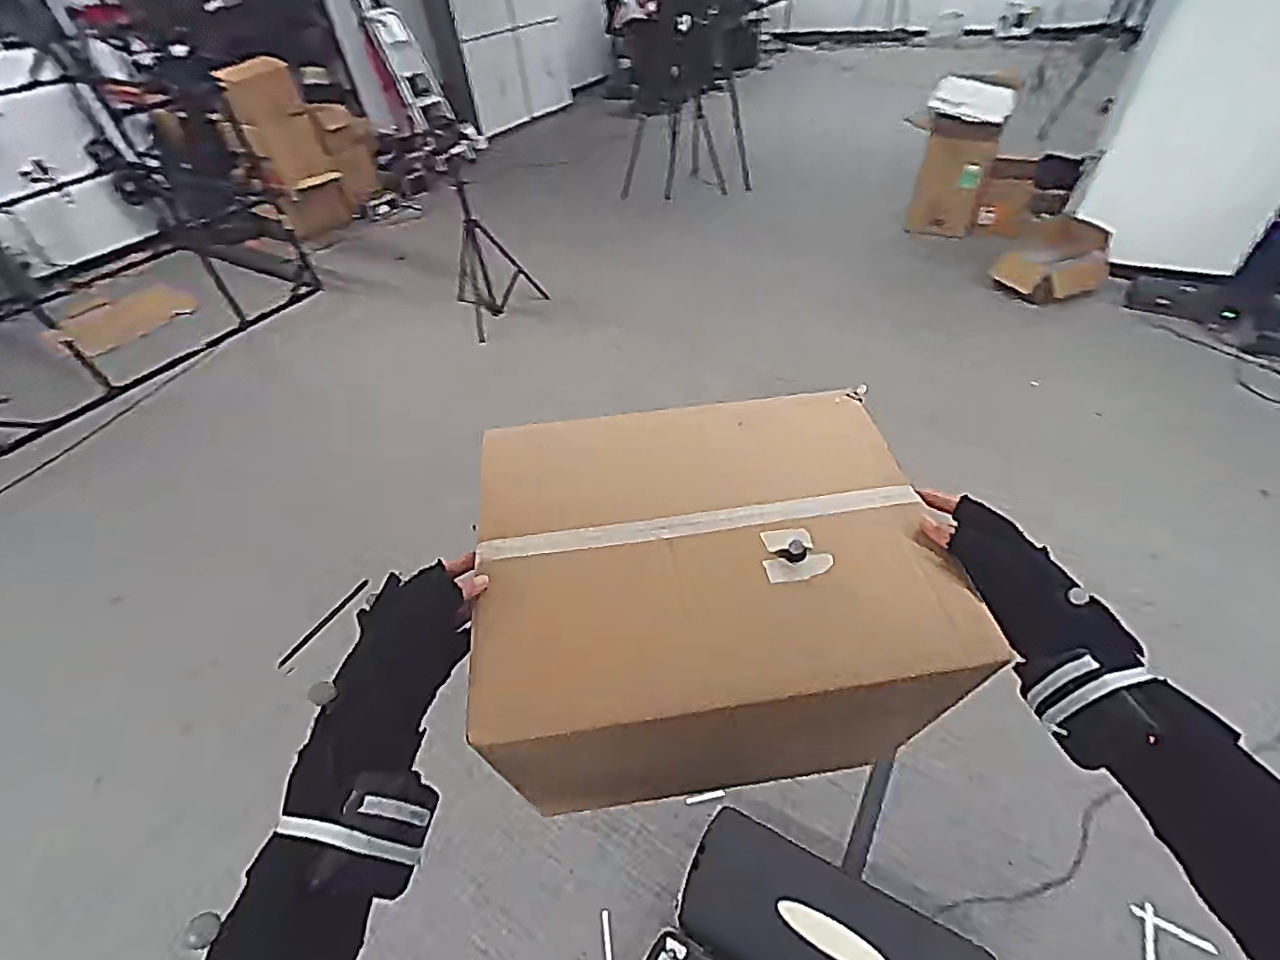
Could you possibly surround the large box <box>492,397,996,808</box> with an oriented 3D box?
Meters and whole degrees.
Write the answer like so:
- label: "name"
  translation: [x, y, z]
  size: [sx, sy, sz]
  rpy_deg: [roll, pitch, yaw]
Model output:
- label: "large box"
  translation: [0.066, 0.141, 0.614]
  size: [0.408, 0.320, 0.320]
  rpy_deg: [-7, 51, -5]
